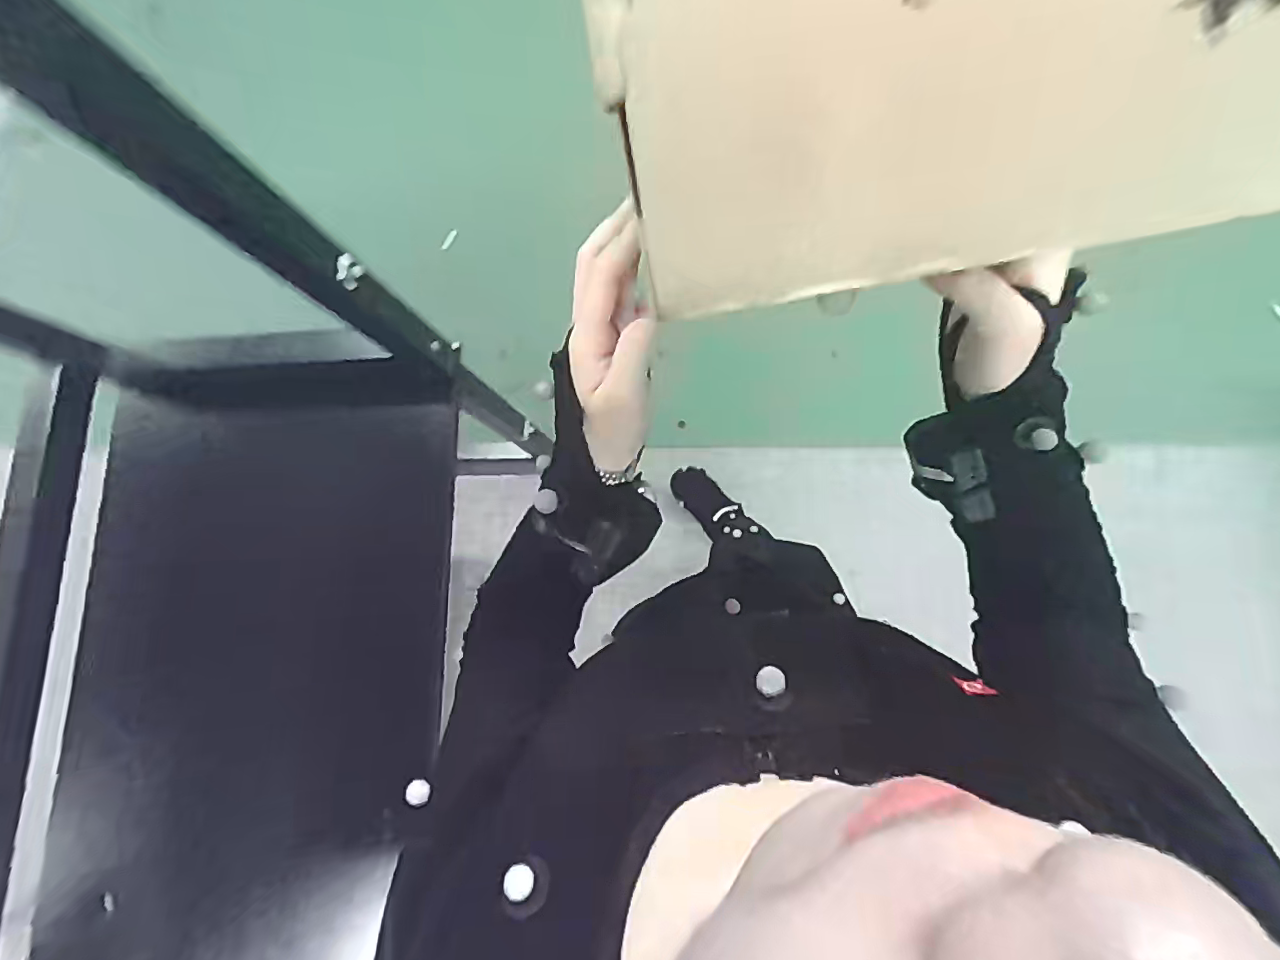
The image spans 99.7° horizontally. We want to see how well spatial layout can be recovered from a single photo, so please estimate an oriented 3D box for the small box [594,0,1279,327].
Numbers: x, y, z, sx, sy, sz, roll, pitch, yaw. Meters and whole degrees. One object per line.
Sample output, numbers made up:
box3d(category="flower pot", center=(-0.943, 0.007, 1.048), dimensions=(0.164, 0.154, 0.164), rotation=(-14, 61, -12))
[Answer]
box3d(category="small box", center=(0.084, -0.160, 0.211), dimensions=(0.179, 0.176, 0.168), rotation=(-6, 110, 10))
